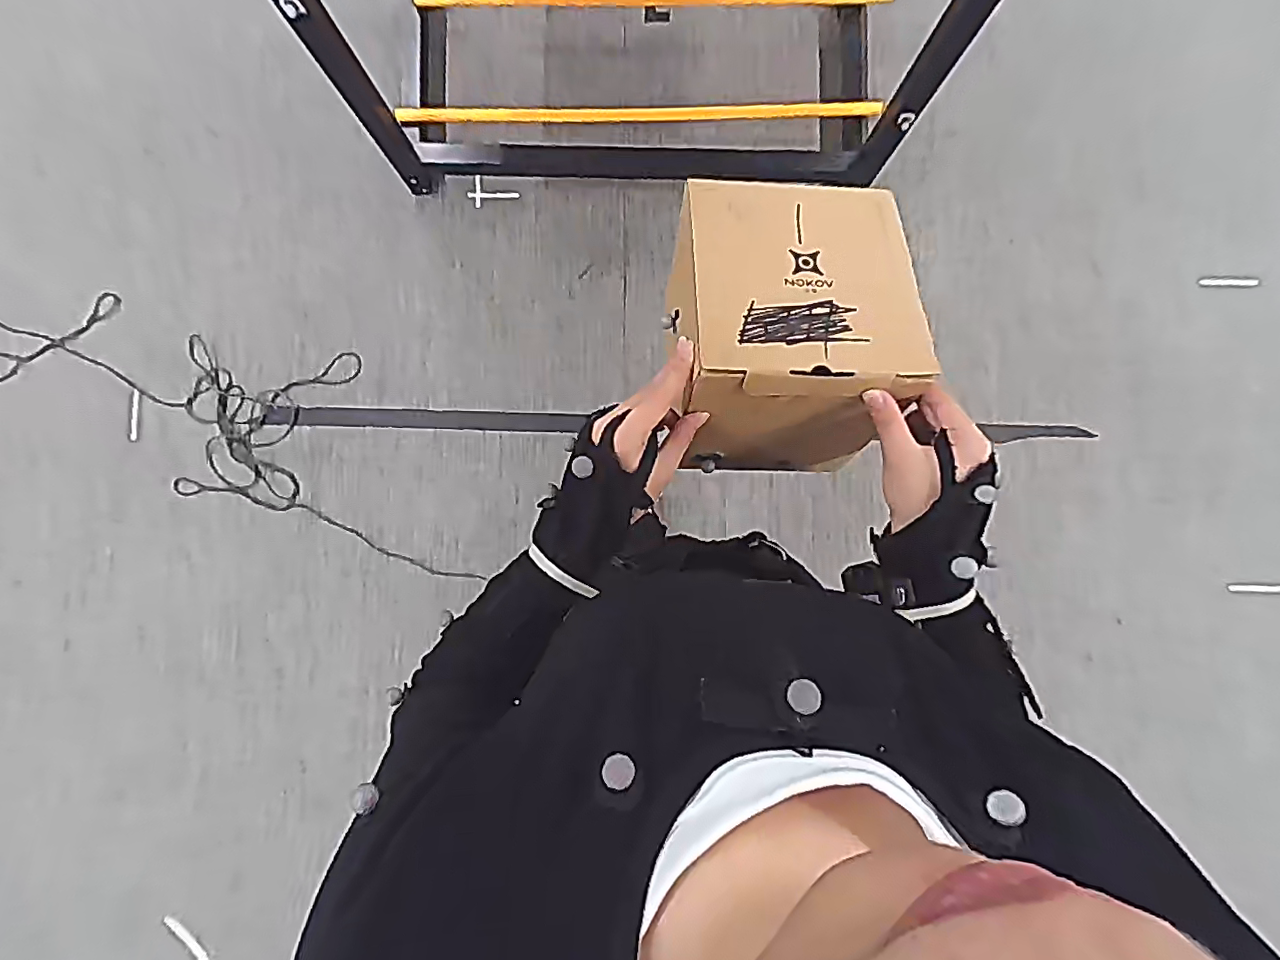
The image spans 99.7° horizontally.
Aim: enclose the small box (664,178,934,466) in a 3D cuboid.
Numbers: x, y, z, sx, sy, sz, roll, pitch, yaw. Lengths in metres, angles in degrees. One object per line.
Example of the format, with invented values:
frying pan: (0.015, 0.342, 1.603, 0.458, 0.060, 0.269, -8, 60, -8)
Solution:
small box: (0.112, -0.121, 0.463, 0.168, 0.176, 0.179, 1, 68, -4)
